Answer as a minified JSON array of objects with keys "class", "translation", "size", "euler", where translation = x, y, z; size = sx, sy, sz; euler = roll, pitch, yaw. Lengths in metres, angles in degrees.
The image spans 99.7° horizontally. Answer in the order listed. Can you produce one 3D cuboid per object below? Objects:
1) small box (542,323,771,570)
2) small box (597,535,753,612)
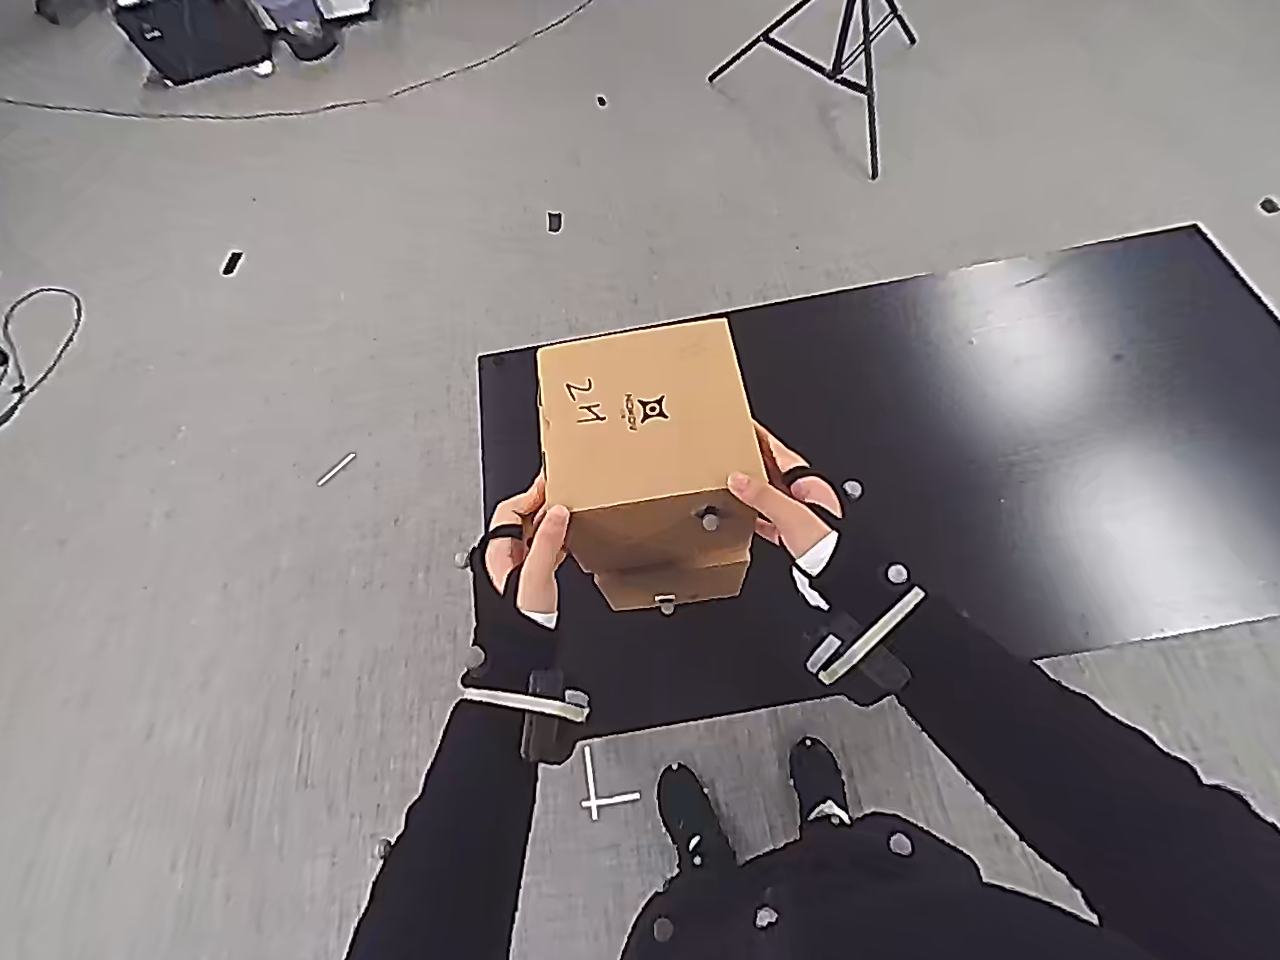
[{"class":"small box","translation":[0.014,-0.021,0.520],"size":[0.179,0.176,0.168],"euler":[-9,65,3]},{"class":"small box","translation":[0.034,0.052,0.667],"size":[0.168,0.176,0.179],"euler":[-9,66,3]}]
